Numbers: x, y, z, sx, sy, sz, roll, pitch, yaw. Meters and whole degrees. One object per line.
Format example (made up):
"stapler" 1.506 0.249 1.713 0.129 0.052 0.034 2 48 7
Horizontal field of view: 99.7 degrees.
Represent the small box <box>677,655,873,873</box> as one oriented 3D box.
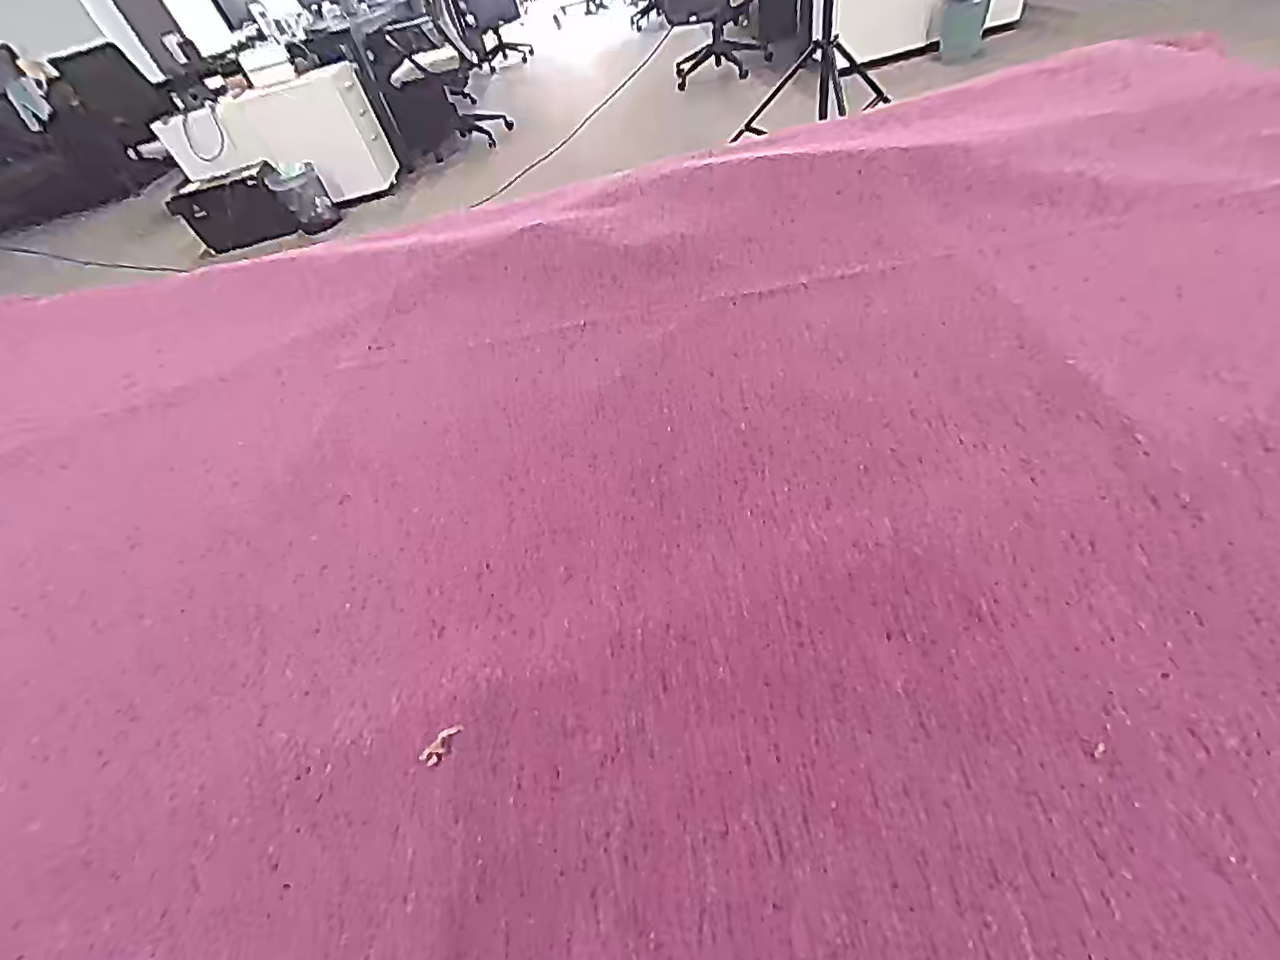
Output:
"small box" 0.149 0.335 0.634 0.168 0.176 0.179 -15 49 4
